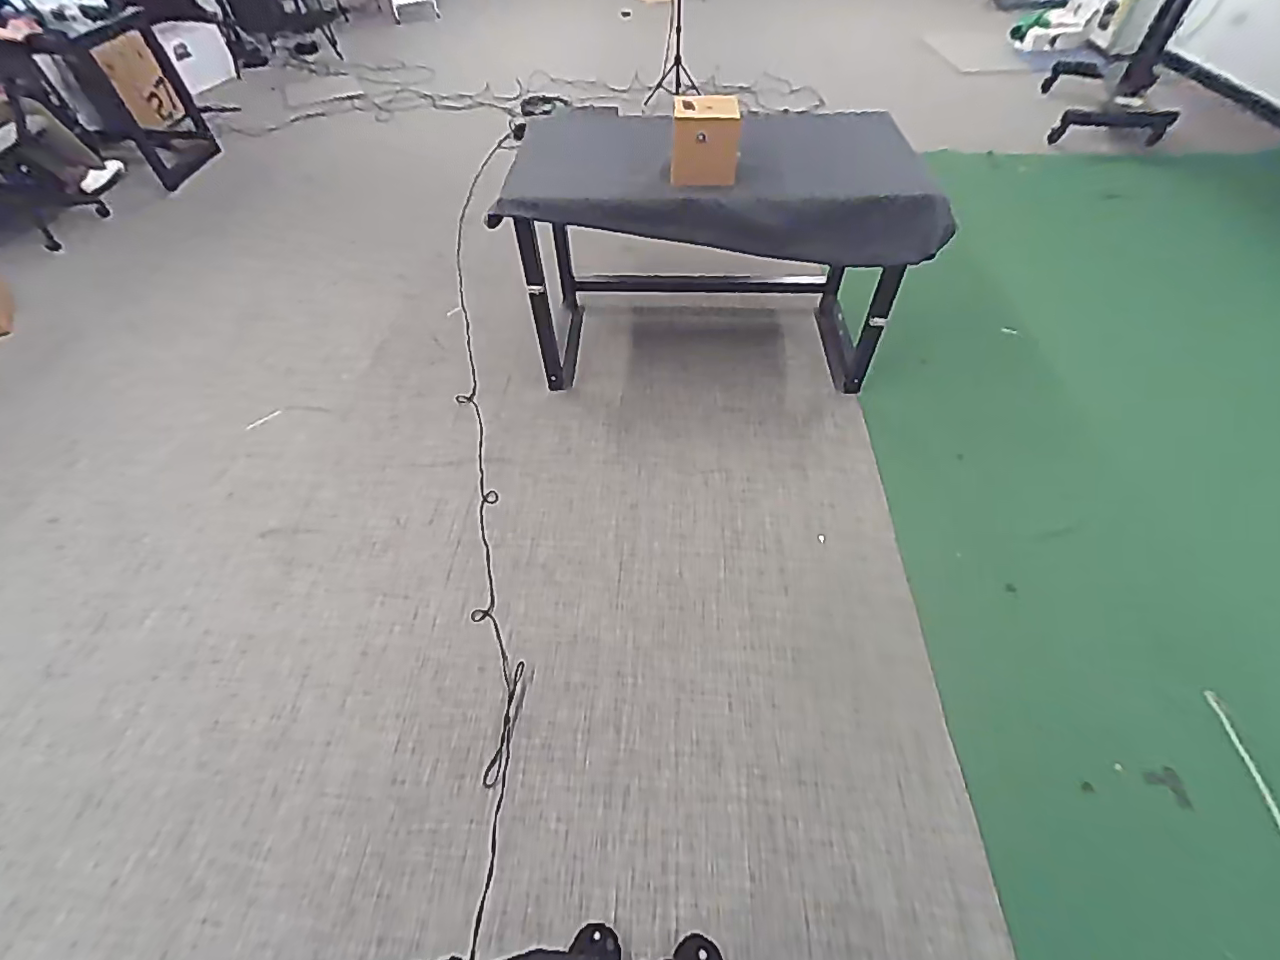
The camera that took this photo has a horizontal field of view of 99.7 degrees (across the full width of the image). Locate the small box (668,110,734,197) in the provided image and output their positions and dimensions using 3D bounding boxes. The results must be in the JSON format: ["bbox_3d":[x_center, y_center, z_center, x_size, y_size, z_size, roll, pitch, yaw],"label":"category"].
[{"bbox_3d":[0.169,-0.922,1.530,0.179,0.176,0.168,2,52,2],"label":"small box"}]
